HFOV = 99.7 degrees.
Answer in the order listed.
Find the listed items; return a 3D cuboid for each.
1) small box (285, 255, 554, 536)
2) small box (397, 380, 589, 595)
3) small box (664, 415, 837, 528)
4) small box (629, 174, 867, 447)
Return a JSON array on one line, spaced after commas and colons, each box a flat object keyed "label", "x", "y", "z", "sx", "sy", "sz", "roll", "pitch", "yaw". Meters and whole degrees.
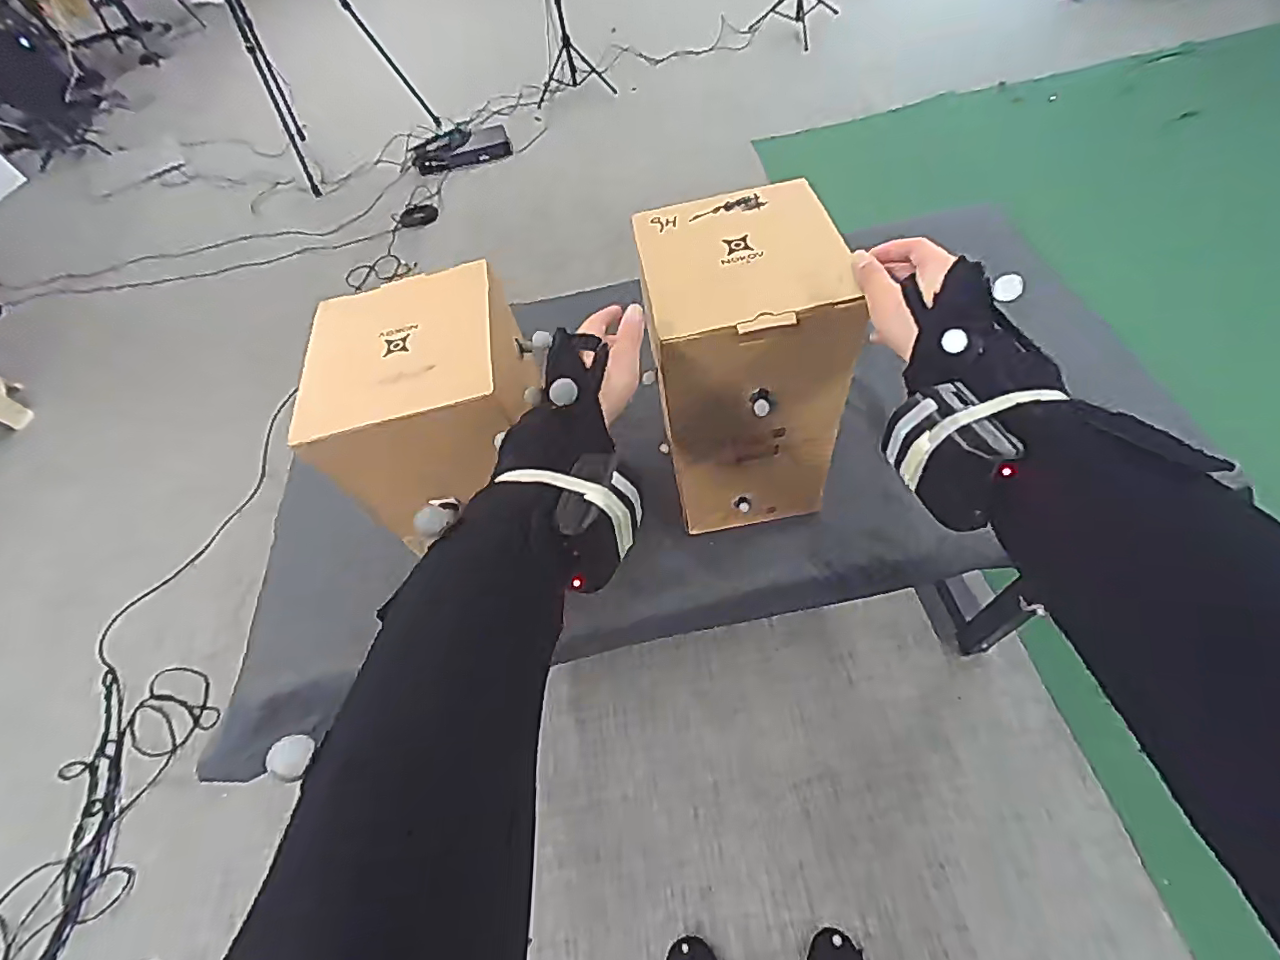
[{"label": "small box", "x": -0.190, "y": -0.073, "z": 0.513, "sx": 0.168, "sy": 0.176, "sz": 0.179, "roll": -15, "pitch": 57, "yaw": 2}, {"label": "small box", "x": -0.166, "y": 0.014, "z": 0.649, "sx": 0.168, "sy": 0.176, "sz": 0.179, "roll": -14, "pitch": 57, "yaw": 1}, {"label": "small box", "x": 0.117, "y": -0.065, "z": 0.653, "sx": 0.168, "sy": 0.176, "sz": 0.179, "roll": -11, "pitch": 57, "yaw": 2}, {"label": "small box", "x": 0.091, "y": -0.147, "z": 0.514, "sx": 0.168, "sy": 0.176, "sz": 0.179, "roll": -11, "pitch": 58, "yaw": 3}]
